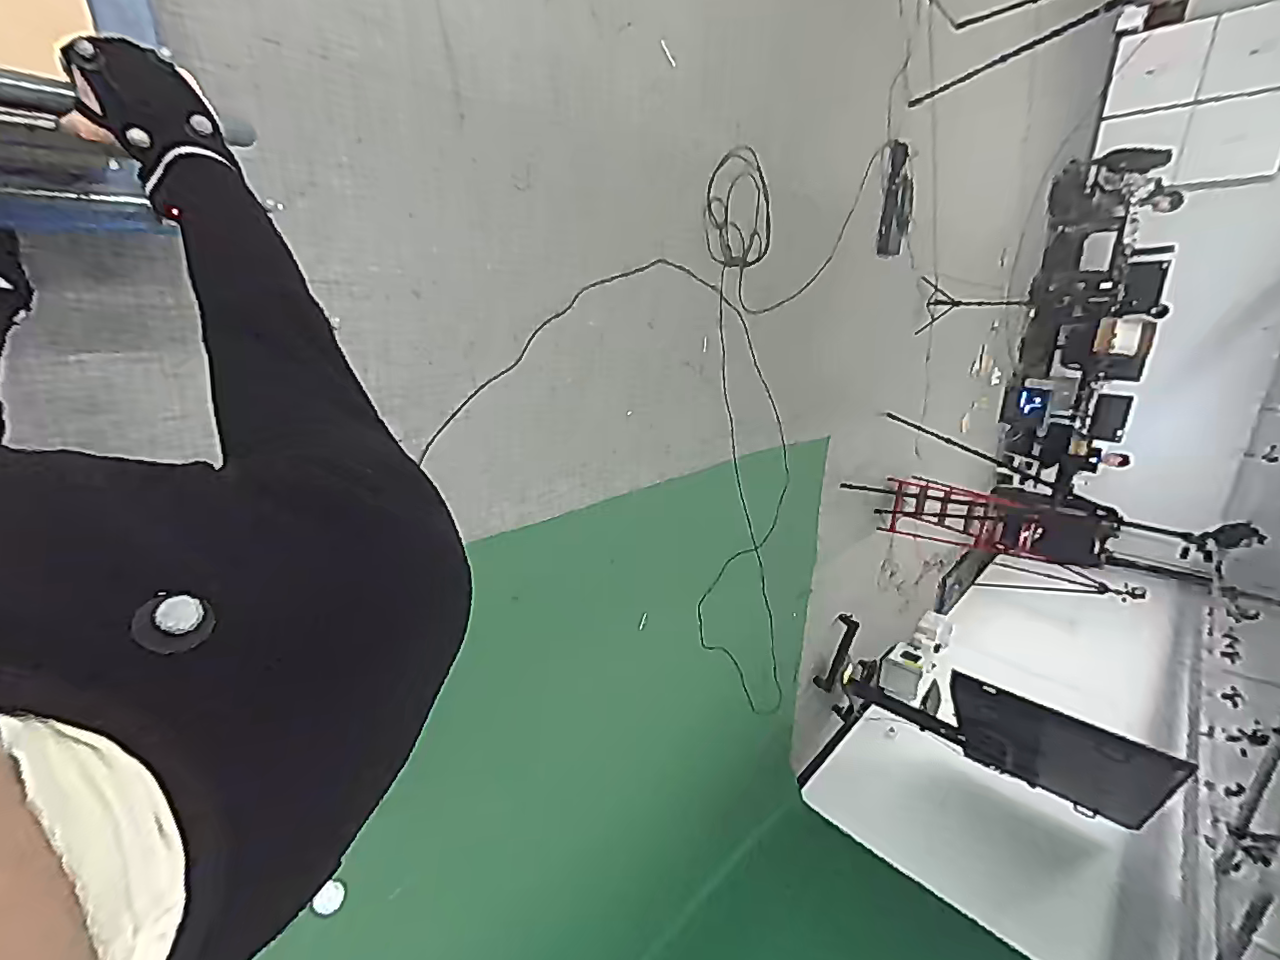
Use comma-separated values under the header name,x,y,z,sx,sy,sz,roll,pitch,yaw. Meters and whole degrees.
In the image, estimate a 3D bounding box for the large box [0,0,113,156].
name,x,y,z,sx,sy,sz,roll,pitch,yaw
large box,-0.956,-0.689,0.696,0.320,0.320,0.408,-18,115,-42
